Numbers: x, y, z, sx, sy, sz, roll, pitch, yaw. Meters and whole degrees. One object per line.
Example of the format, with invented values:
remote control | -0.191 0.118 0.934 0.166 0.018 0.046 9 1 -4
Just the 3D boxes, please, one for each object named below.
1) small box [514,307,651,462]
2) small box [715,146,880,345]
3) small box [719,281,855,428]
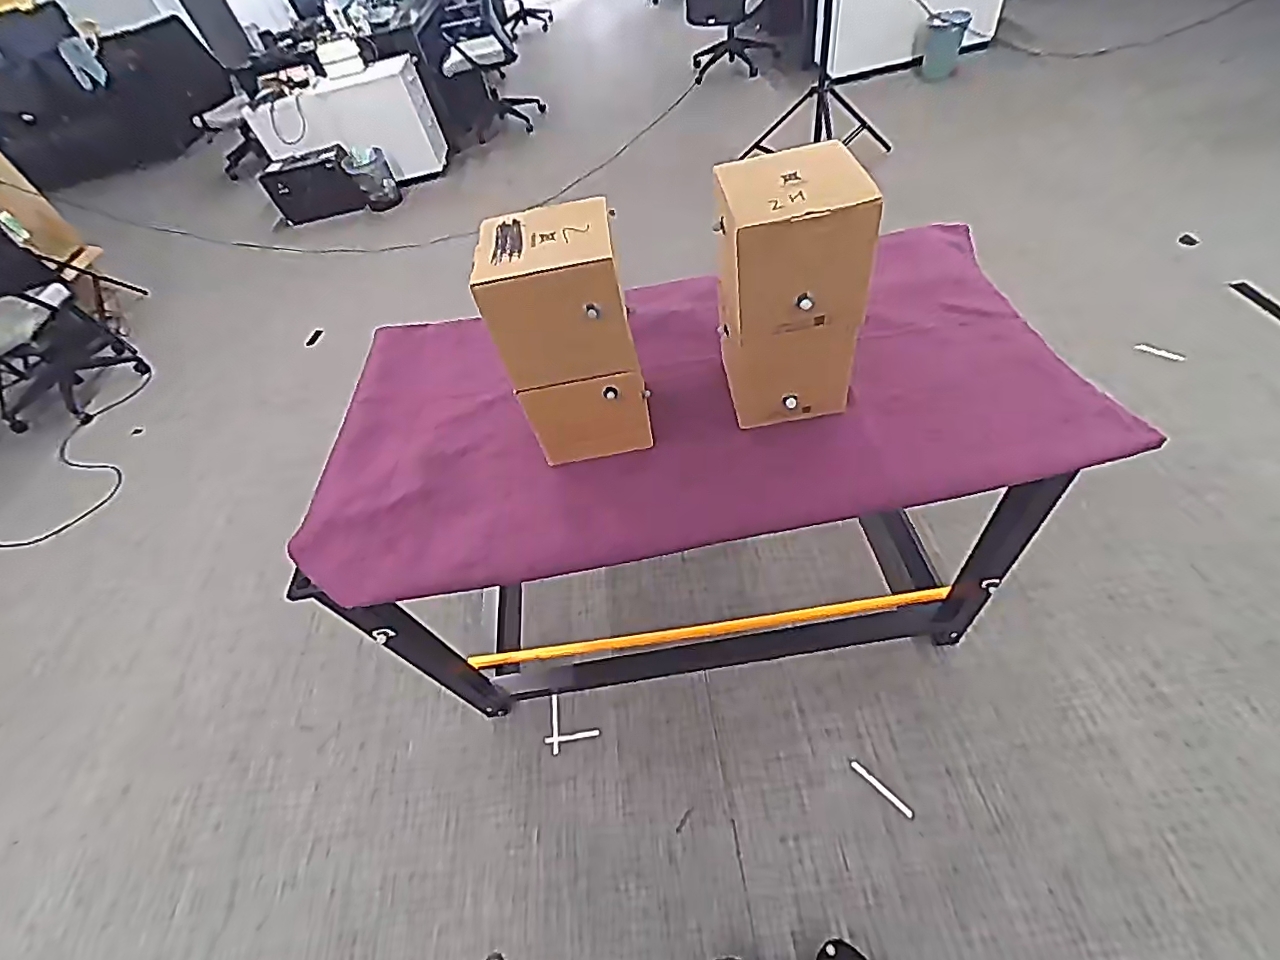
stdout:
small box | -0.087 -0.148 0.874 0.179 0.176 0.168 -10 50 4
small box | 0.197 -0.310 0.724 0.168 0.176 0.179 -10 51 6
small box | 0.221 -0.208 0.852 0.168 0.176 0.179 -10 51 5
